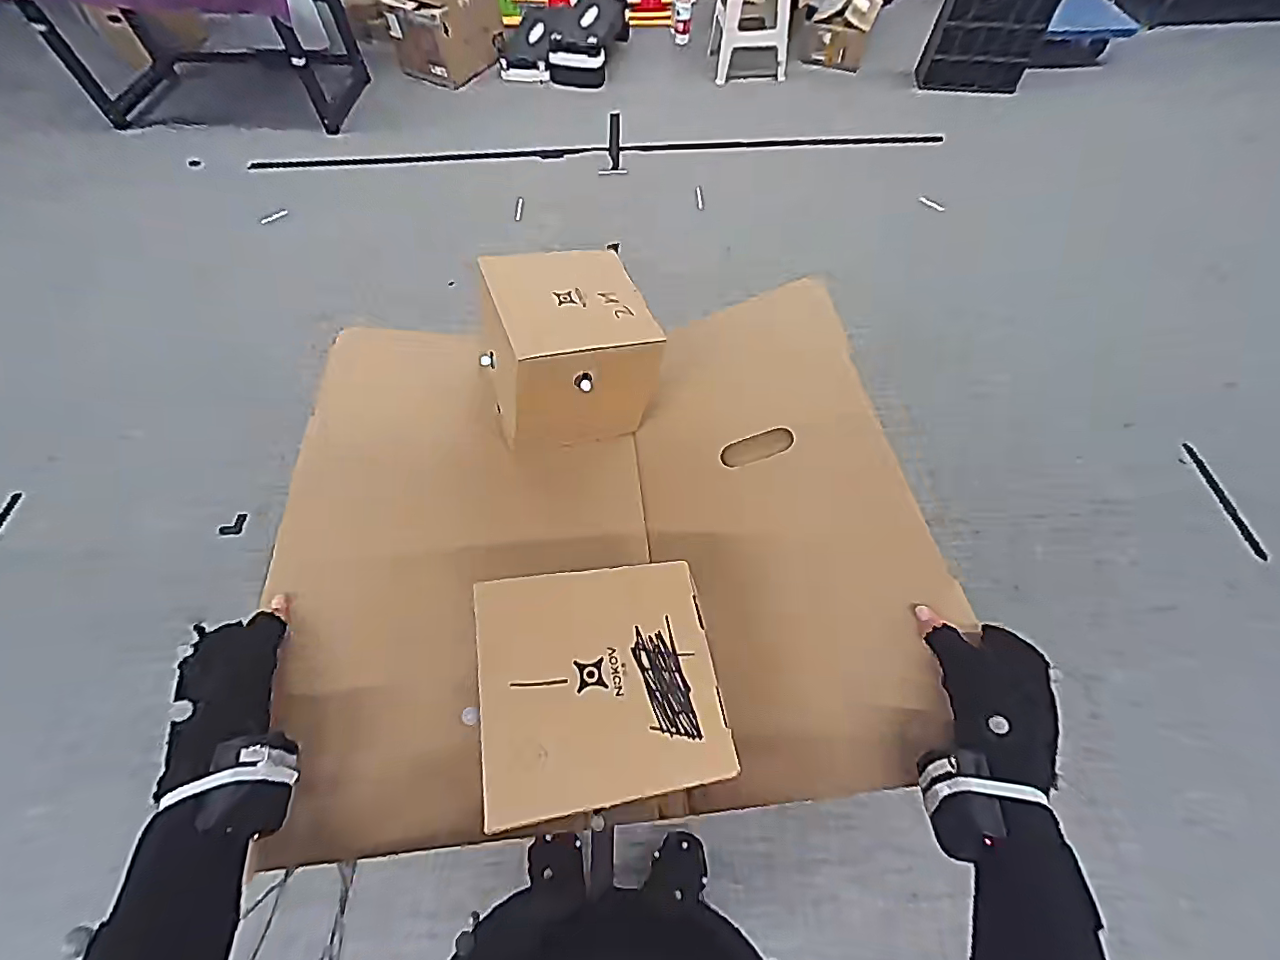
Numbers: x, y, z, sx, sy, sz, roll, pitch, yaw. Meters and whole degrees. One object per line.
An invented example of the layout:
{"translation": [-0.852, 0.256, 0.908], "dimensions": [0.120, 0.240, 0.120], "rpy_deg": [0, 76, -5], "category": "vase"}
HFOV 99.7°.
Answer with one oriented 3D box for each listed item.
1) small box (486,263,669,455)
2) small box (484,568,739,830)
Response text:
{"translation": [-0.089, -0.150, 0.685], "dimensions": [0.179, 0.176, 0.168], "rpy_deg": [-12, 60, -23], "category": "small box"}
{"translation": [-0.042, 0.189, 0.468], "dimensions": [0.179, 0.176, 0.168], "rpy_deg": [-3, 58, -15], "category": "small box"}
